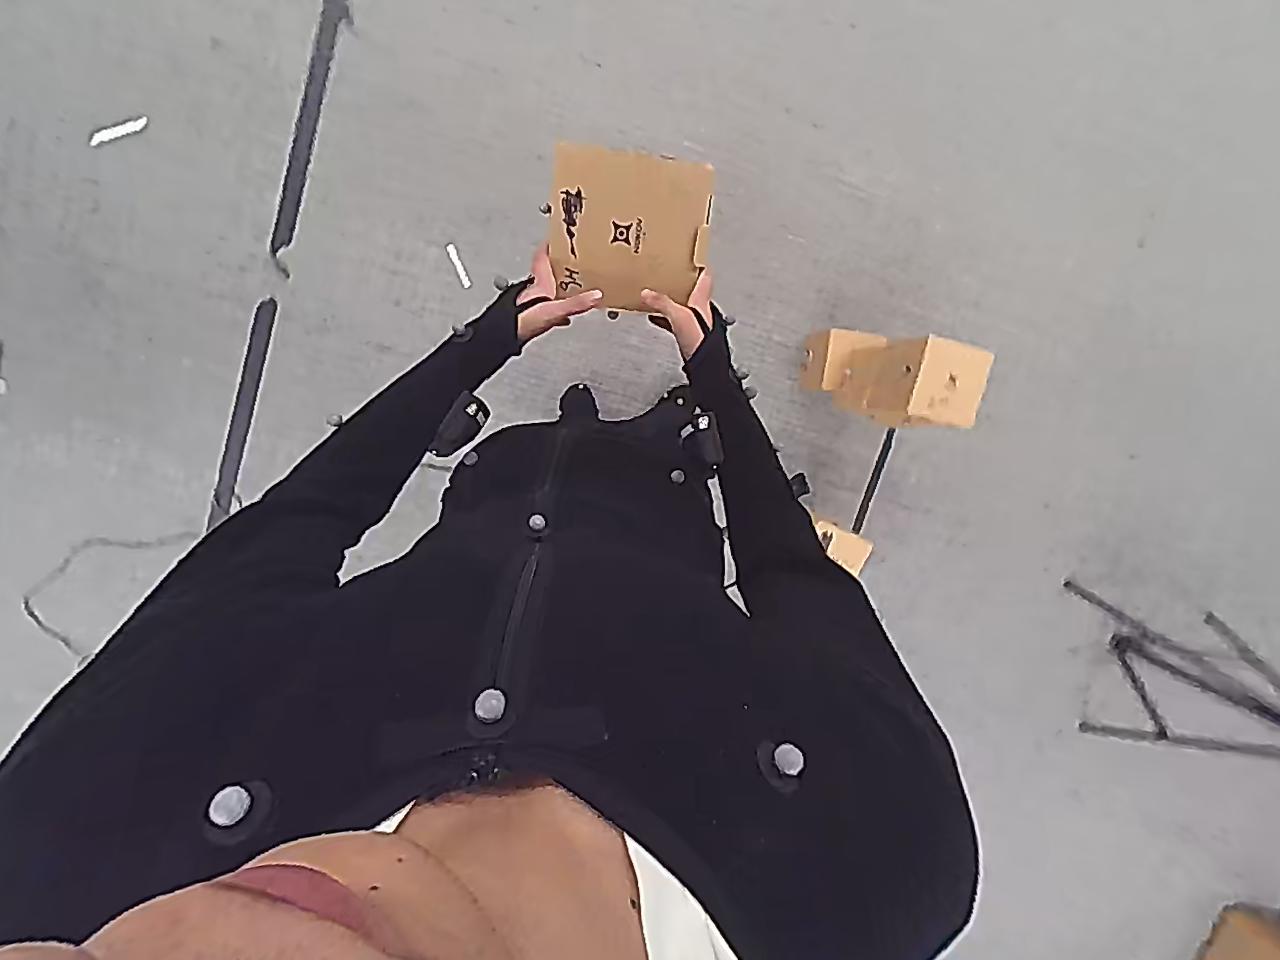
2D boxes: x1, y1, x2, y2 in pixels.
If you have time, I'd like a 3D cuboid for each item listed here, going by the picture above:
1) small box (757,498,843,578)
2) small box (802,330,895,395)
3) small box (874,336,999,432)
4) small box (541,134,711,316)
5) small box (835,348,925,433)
[{"bbox_3d":[0.475,0.169,1.640,0.168,0.176,0.179,18,99,-9],"label":"small box"},{"bbox_3d":[0.594,-0.331,1.558,0.179,0.176,0.168,6,99,-7],"label":"small box"},{"bbox_3d":[0.675,-0.220,1.253,0.168,0.176,0.179,13,98,-9],"label":"small box"},{"bbox_3d":[-0.027,-0.299,0.661,0.179,0.176,0.168,3,110,-8],"label":"small box"},{"bbox_3d":[0.651,-0.235,1.415,0.179,0.176,0.168,21,97,-10],"label":"small box"}]
